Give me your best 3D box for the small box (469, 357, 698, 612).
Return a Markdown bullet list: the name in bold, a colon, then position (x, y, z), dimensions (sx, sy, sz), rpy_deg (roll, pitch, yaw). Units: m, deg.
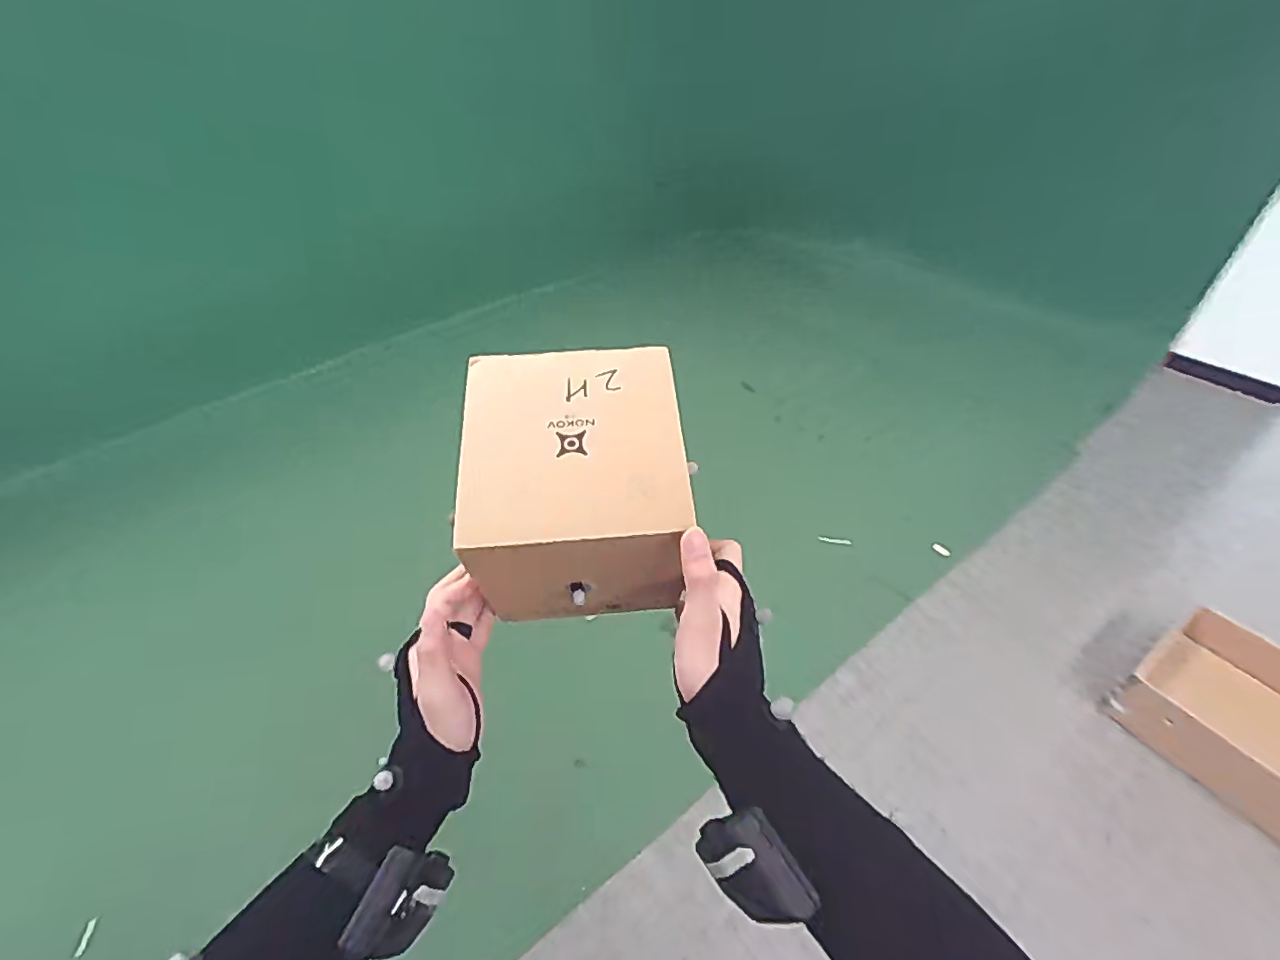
- **small box**: position (-0.045, 0.014, 0.489), dimensions (0.168, 0.176, 0.179), rpy_deg (-3, 59, -4)
